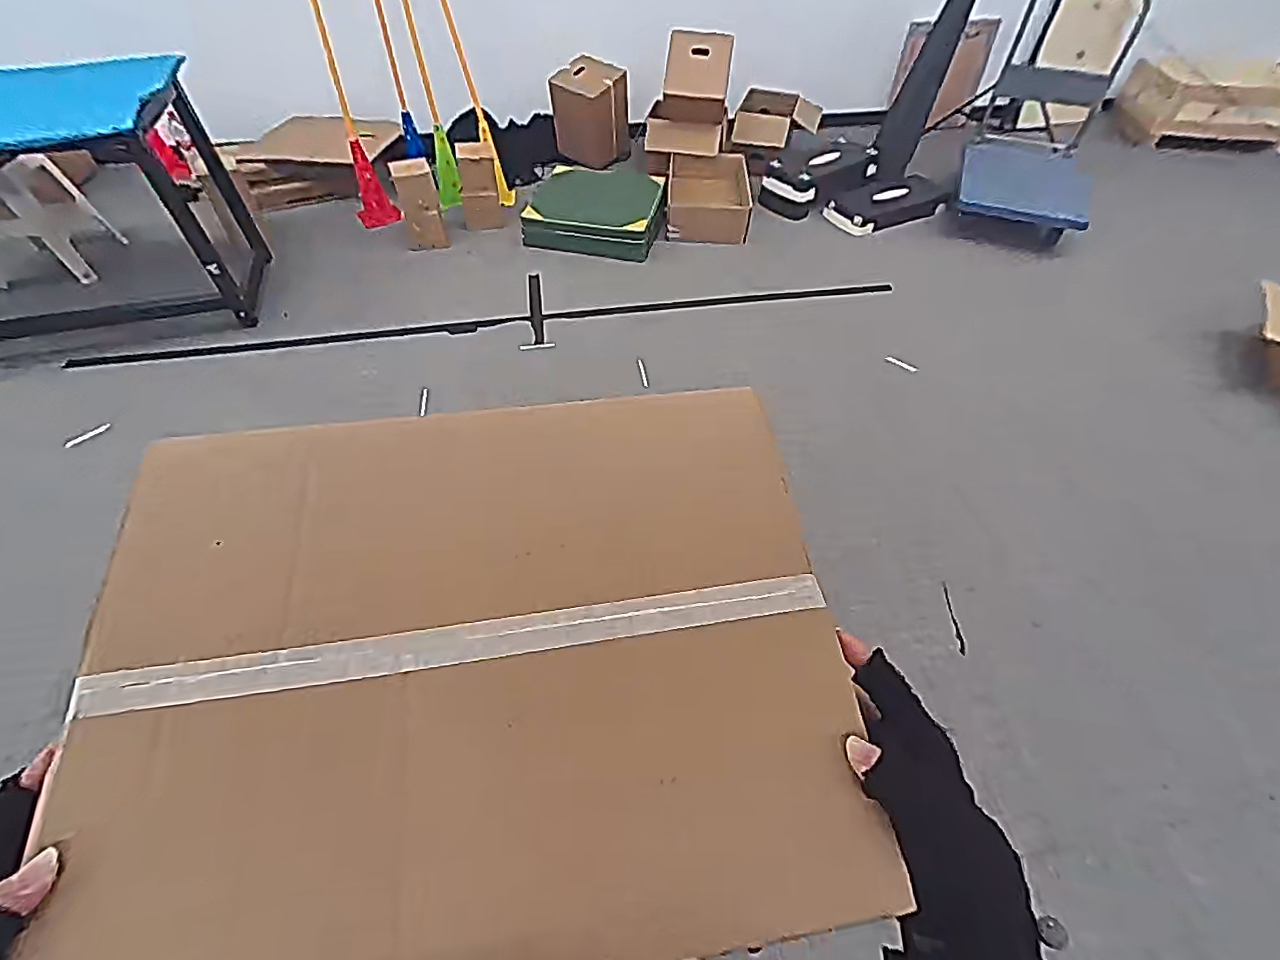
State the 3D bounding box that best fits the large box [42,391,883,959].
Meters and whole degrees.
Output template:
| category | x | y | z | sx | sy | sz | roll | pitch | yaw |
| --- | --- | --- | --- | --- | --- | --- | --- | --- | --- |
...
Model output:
| category | x | y | z | sx | sy | sz | roll | pitch | yaw |
| --- | --- | --- | --- | --- | --- | --- | --- | --- | --- |
| large box | -0.098 | 0.158 | 0.449 | 0.408 | 0.320 | 0.320 | -7 | 63 | -6 |
